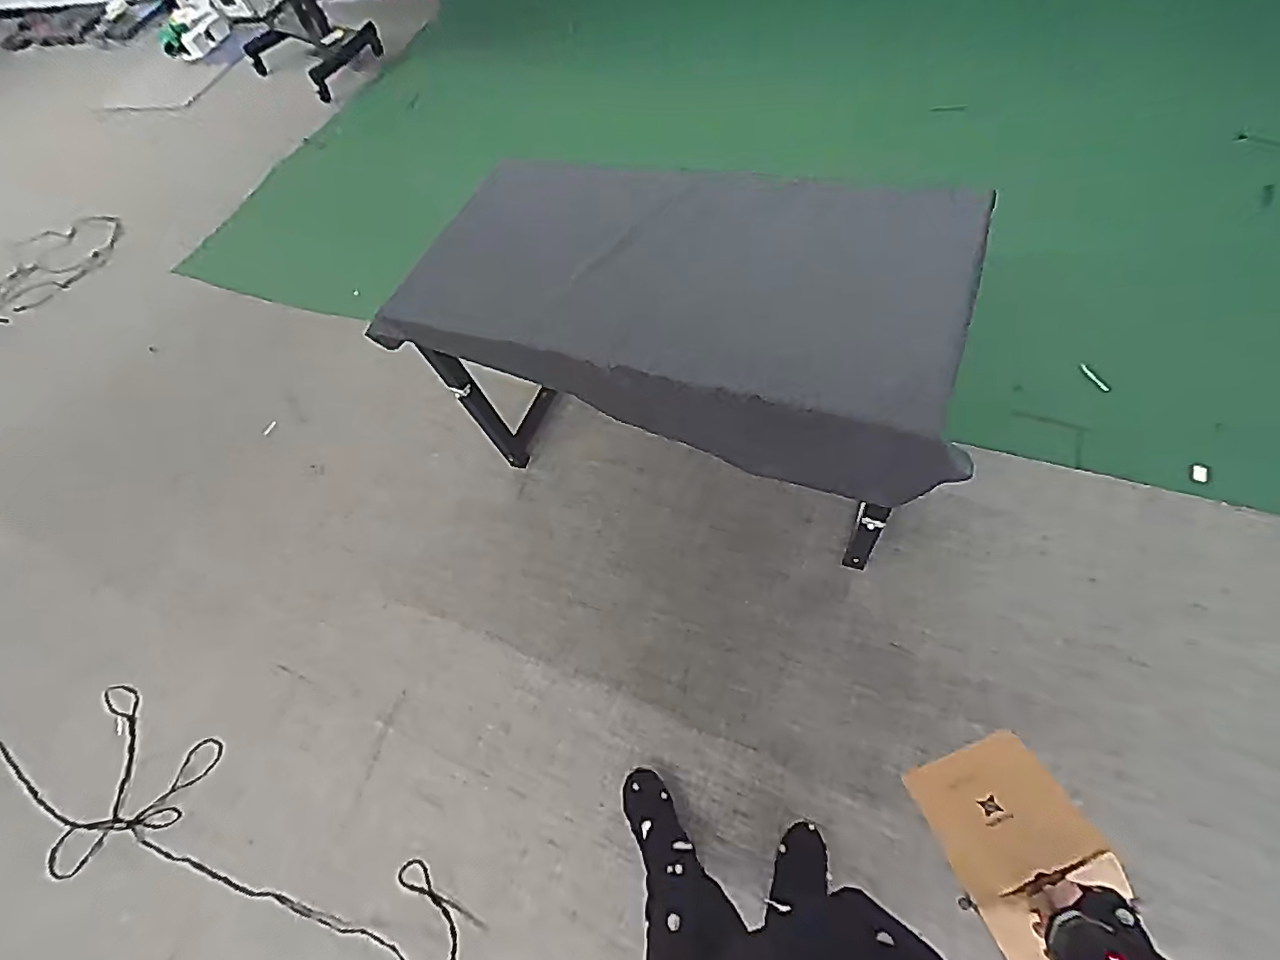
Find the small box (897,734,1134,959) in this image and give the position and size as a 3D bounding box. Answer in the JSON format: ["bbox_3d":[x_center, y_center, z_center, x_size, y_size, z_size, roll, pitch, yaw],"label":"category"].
[{"bbox_3d":[0.481,0.484,0.704,0.168,0.176,0.179,-30,18,7],"label":"small box"}]
